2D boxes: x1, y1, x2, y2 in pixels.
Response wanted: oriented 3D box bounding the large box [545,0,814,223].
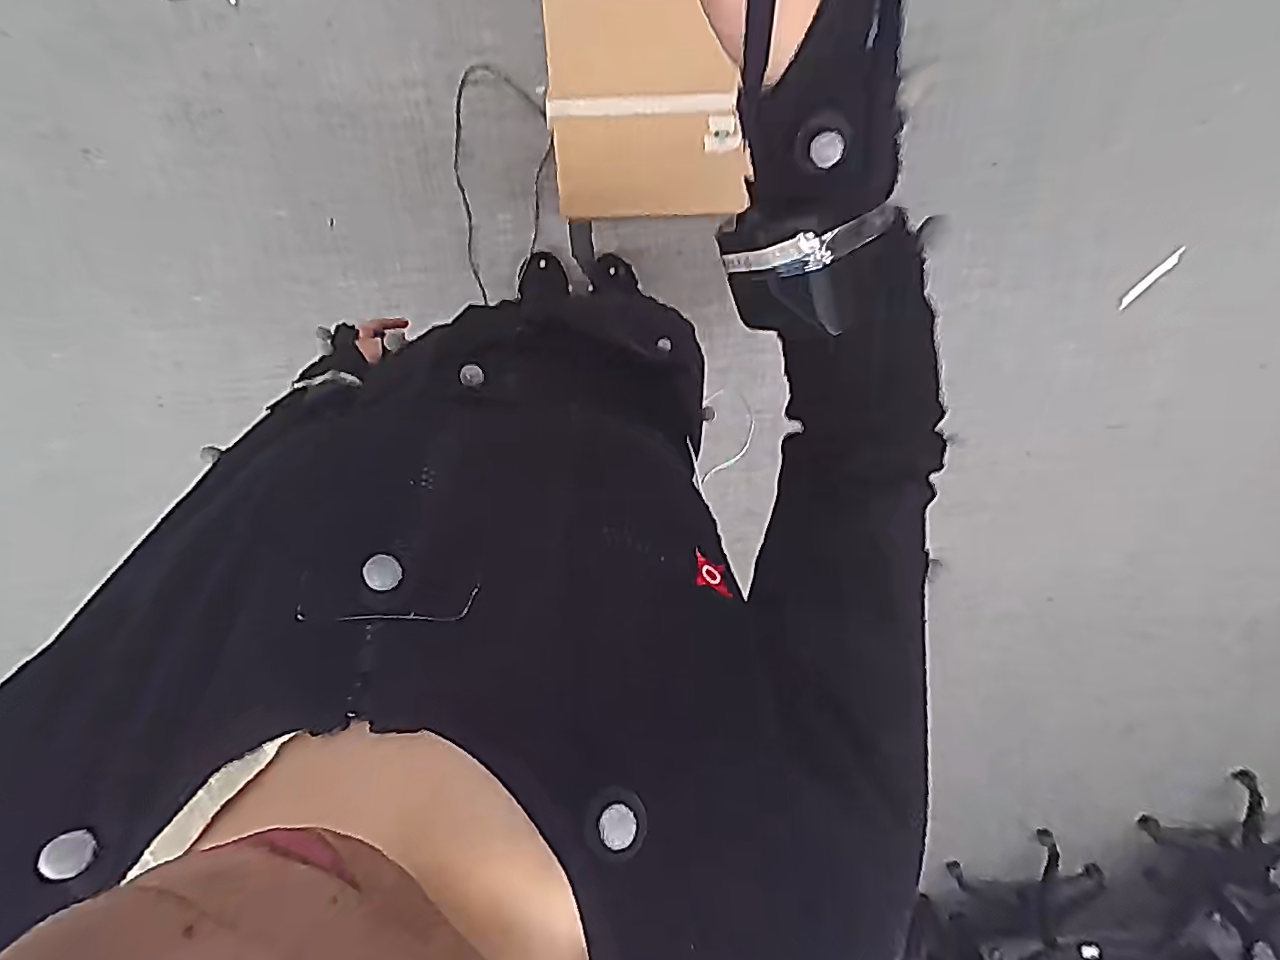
[{"bbox_3d":[0.058,-0.651,0.982,0.408,0.320,0.320,-3,115,-1],"label":"large box"}]
